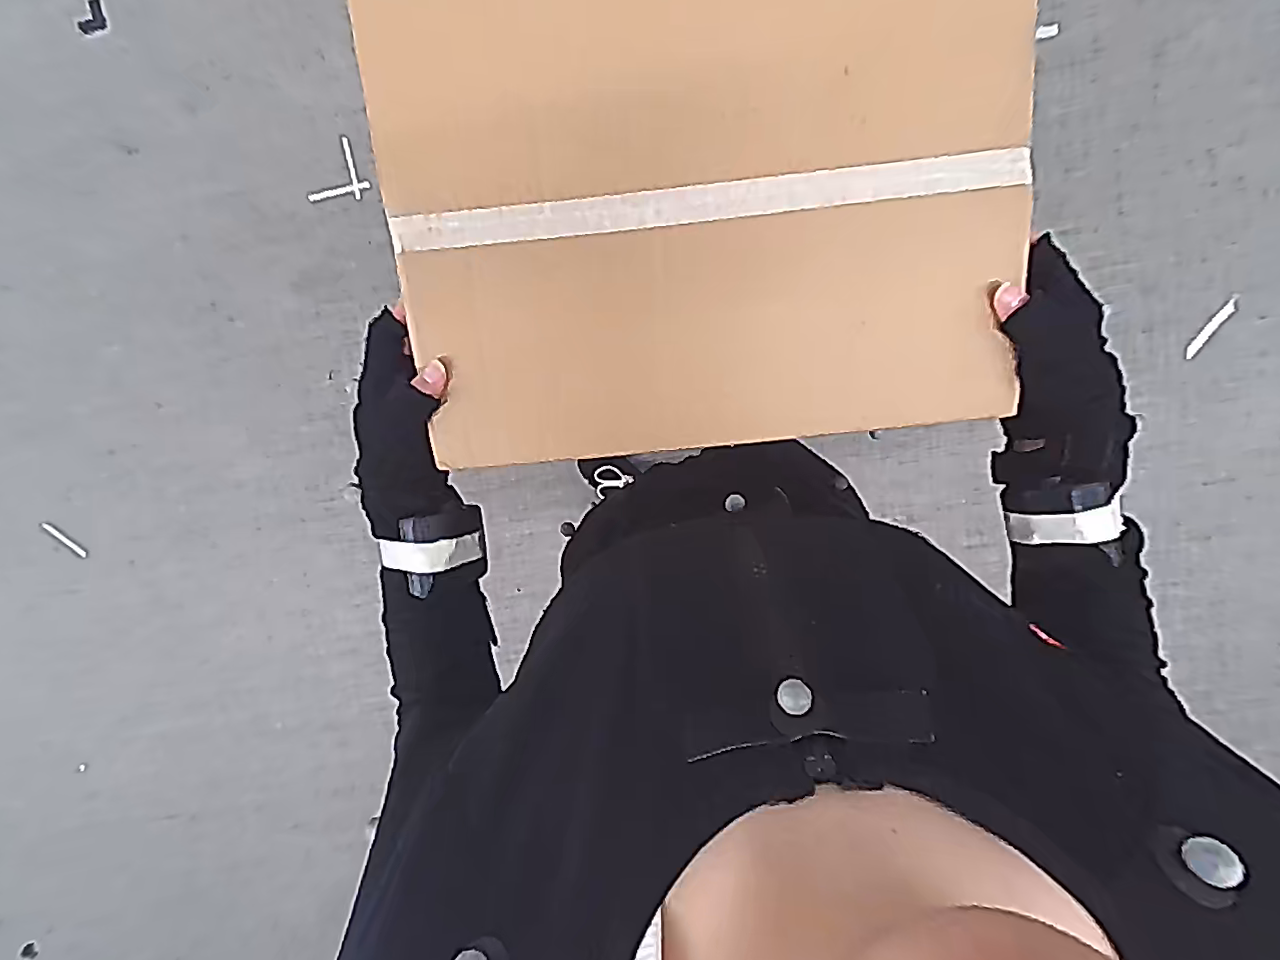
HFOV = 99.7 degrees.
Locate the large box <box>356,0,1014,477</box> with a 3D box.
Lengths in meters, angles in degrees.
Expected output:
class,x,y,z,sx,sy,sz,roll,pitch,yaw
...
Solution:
class,x,y,z,sx,sy,sz,roll,pitch,yaw
large box,0.041,-0.206,0.500,0.408,0.320,0.320,-6,103,1
